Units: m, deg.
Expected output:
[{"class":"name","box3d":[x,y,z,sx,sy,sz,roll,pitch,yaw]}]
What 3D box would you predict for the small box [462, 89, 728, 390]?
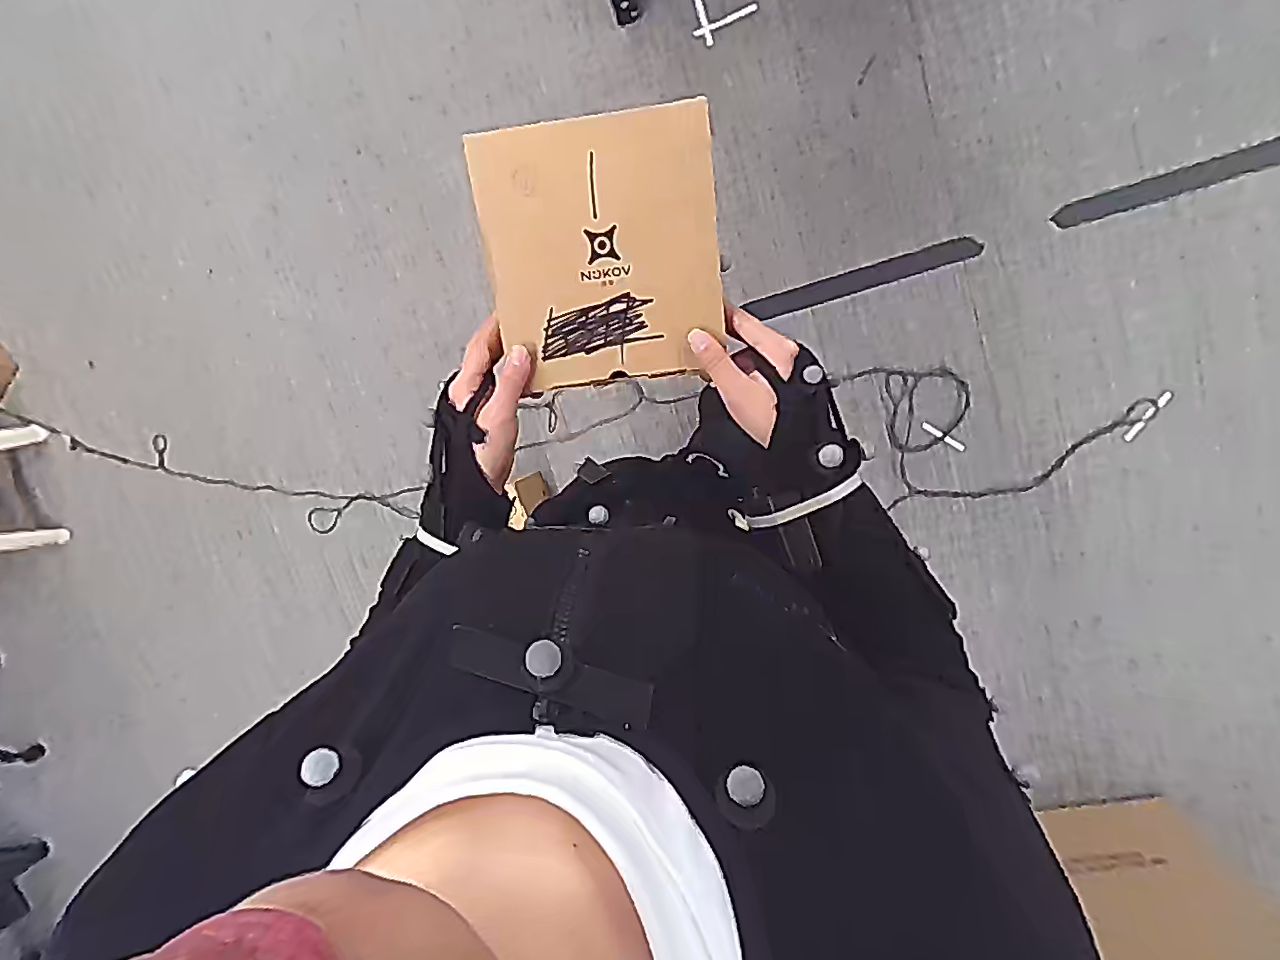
[{"class":"small box","box3d":[-0.023,-0.181,0.443,0.168,0.176,0.179,-6,107,3]}]
